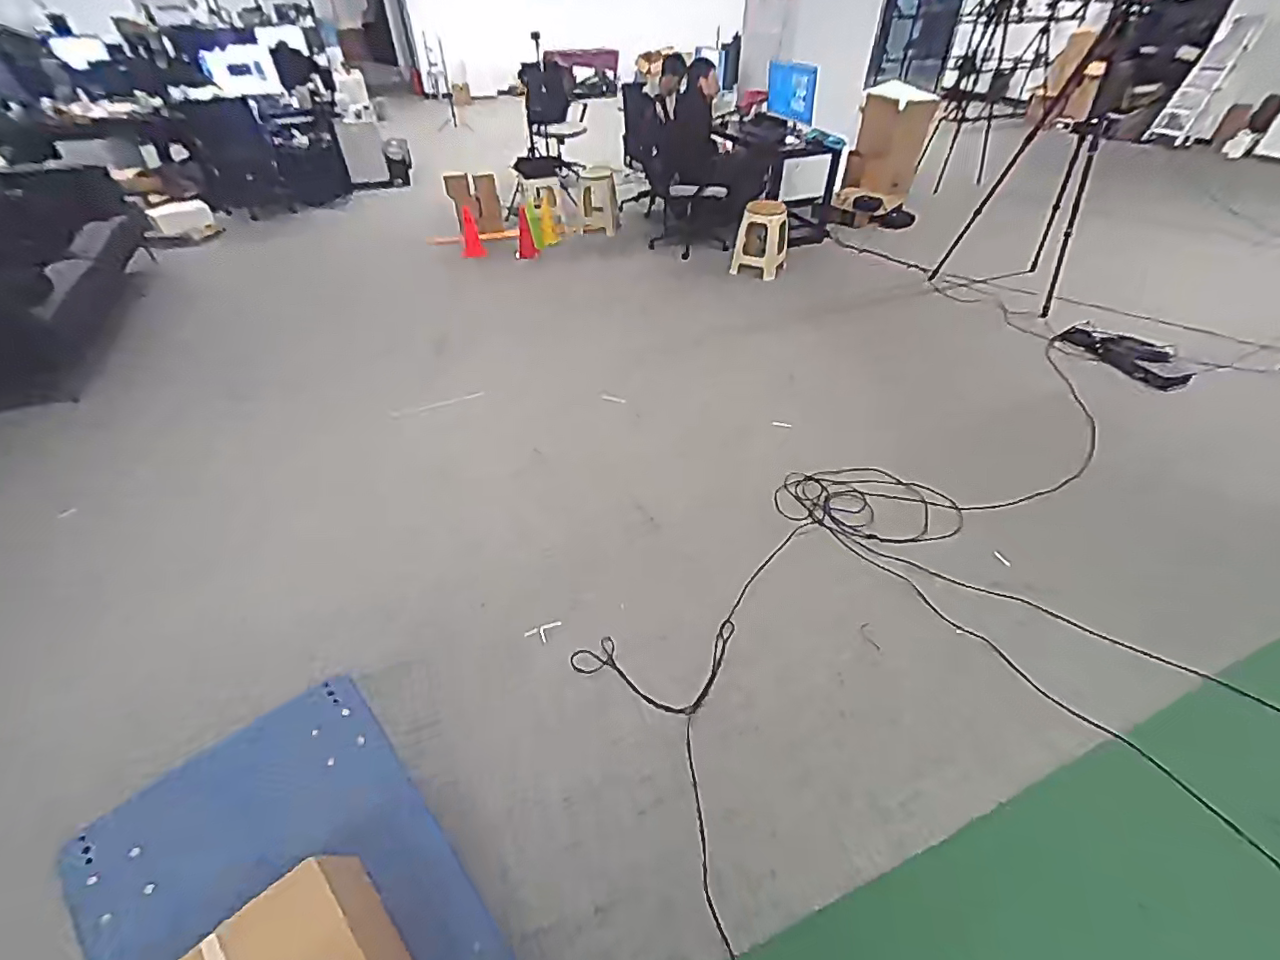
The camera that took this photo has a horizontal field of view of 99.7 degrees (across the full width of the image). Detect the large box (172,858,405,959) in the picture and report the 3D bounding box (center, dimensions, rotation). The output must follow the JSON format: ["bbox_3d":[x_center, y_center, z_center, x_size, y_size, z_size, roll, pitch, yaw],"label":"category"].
[{"bbox_3d":[-0.569,0.919,0.888,0.320,0.320,0.408,-33,68,-31],"label":"large box"}]
